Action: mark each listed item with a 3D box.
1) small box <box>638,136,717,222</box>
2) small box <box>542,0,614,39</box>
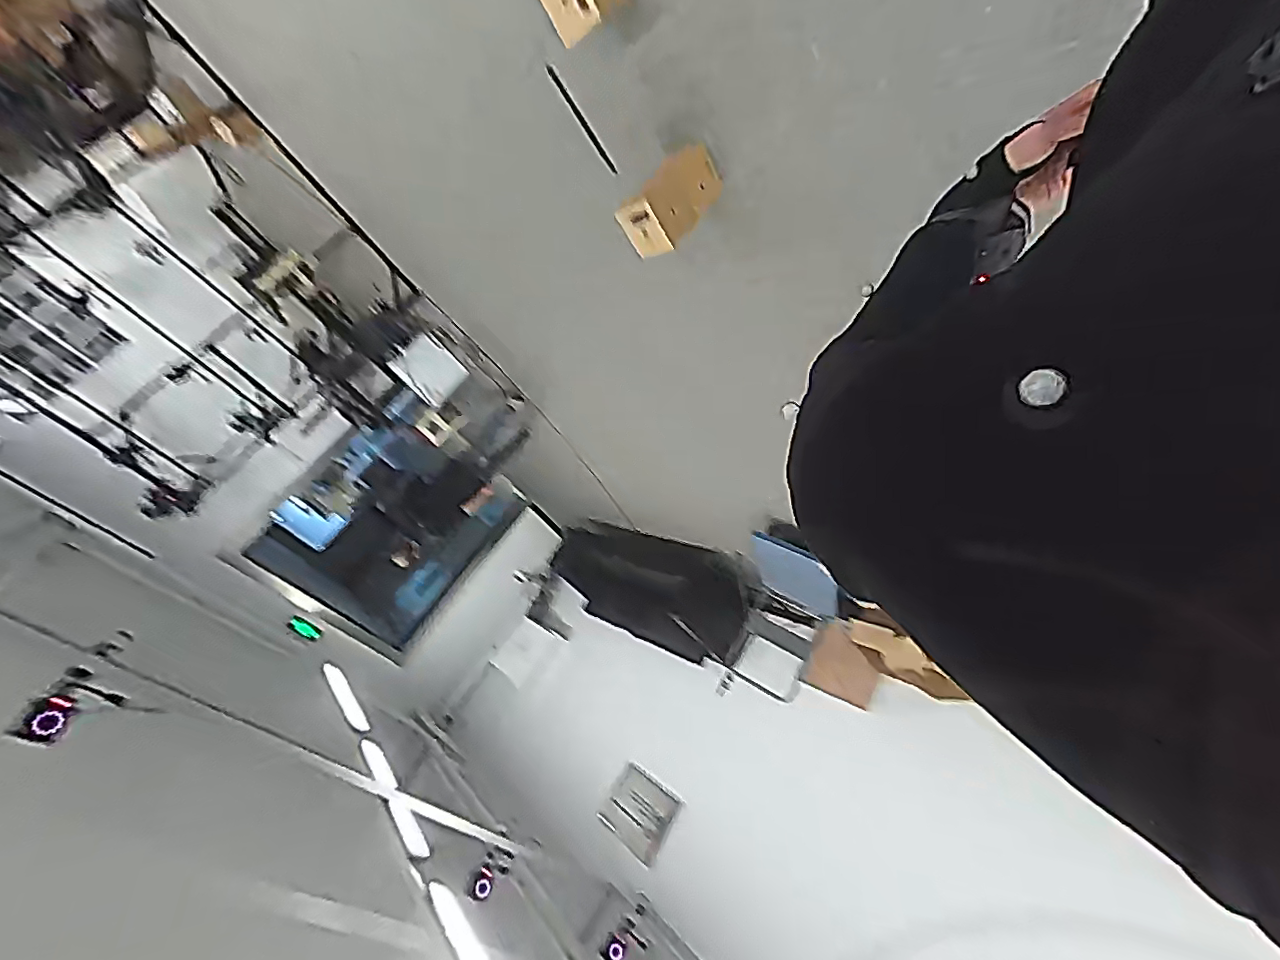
[{"bbox_3d":[0.133,-1.002,1.802,0.179,0.176,0.168,11,149,50],"label":"small box"},{"bbox_3d":[-0.161,-1.365,1.468,0.179,0.176,0.168,13,149,48],"label":"small box"}]
